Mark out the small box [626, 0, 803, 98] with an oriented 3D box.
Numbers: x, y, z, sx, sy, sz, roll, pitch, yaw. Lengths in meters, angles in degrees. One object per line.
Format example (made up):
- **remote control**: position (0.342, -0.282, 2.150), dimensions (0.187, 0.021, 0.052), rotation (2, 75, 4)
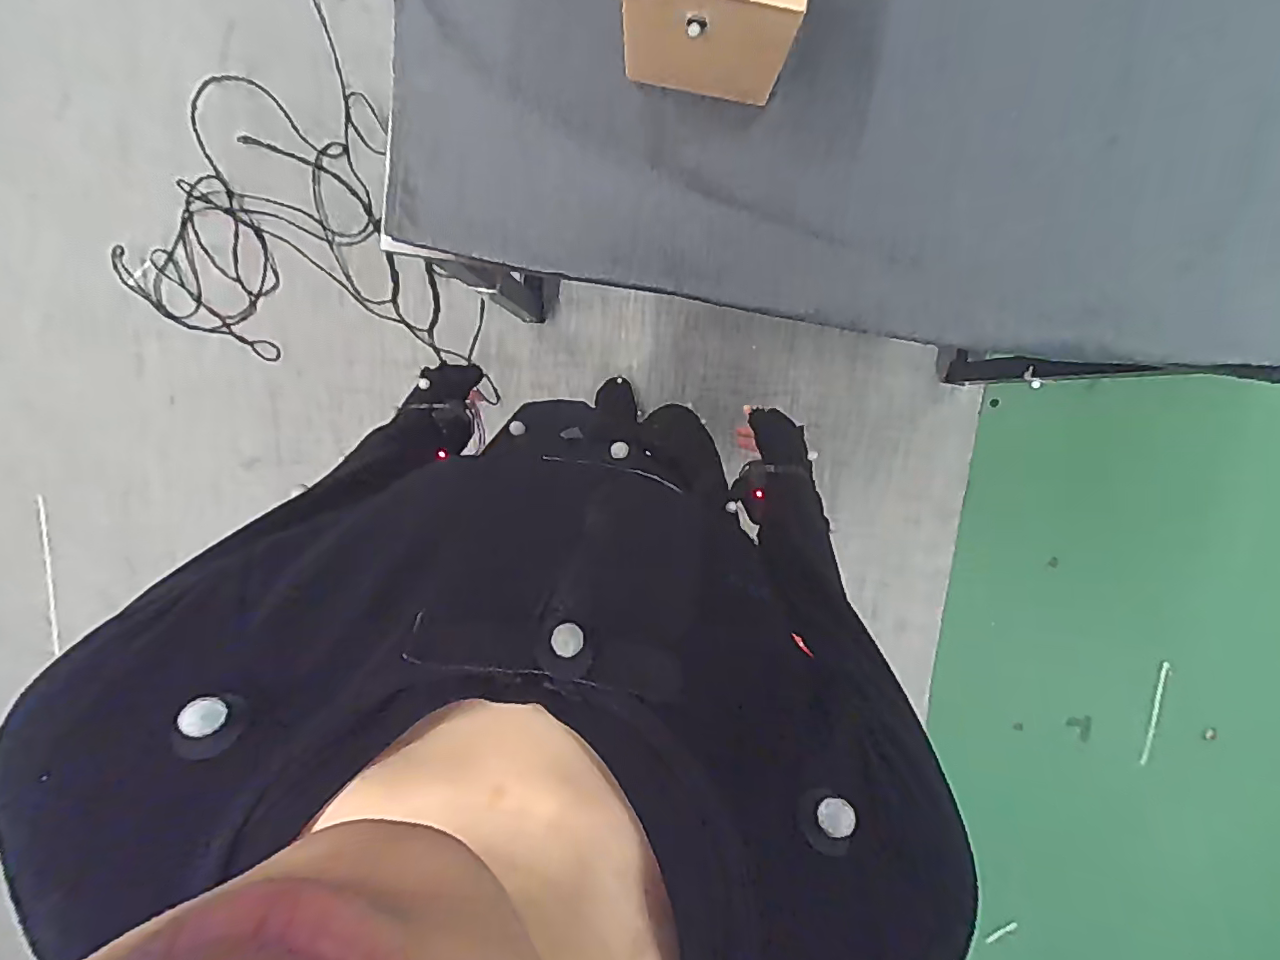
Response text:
- **small box**: position (0.082, -0.551, 0.579), dimensions (0.179, 0.176, 0.168), rotation (10, 98, -3)
